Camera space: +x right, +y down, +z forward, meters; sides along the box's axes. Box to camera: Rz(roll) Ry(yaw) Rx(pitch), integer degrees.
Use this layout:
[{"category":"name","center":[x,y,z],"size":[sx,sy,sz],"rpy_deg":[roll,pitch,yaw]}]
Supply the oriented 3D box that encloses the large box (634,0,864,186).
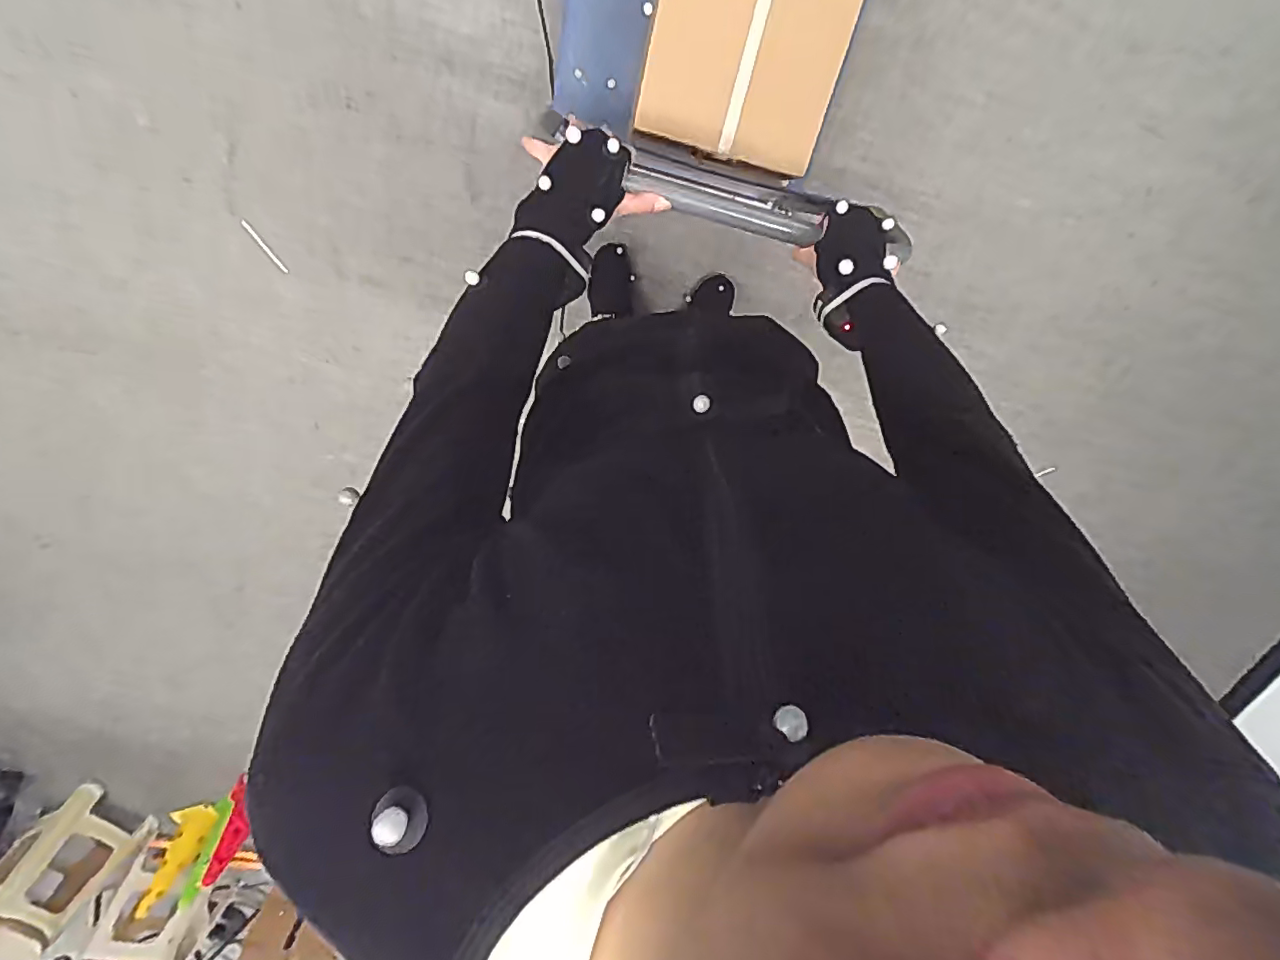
[{"category":"large box","center":[0.180,-0.792,0.973],"size":[0.320,0.320,0.408],"rpy_deg":[11,115,-10]}]
